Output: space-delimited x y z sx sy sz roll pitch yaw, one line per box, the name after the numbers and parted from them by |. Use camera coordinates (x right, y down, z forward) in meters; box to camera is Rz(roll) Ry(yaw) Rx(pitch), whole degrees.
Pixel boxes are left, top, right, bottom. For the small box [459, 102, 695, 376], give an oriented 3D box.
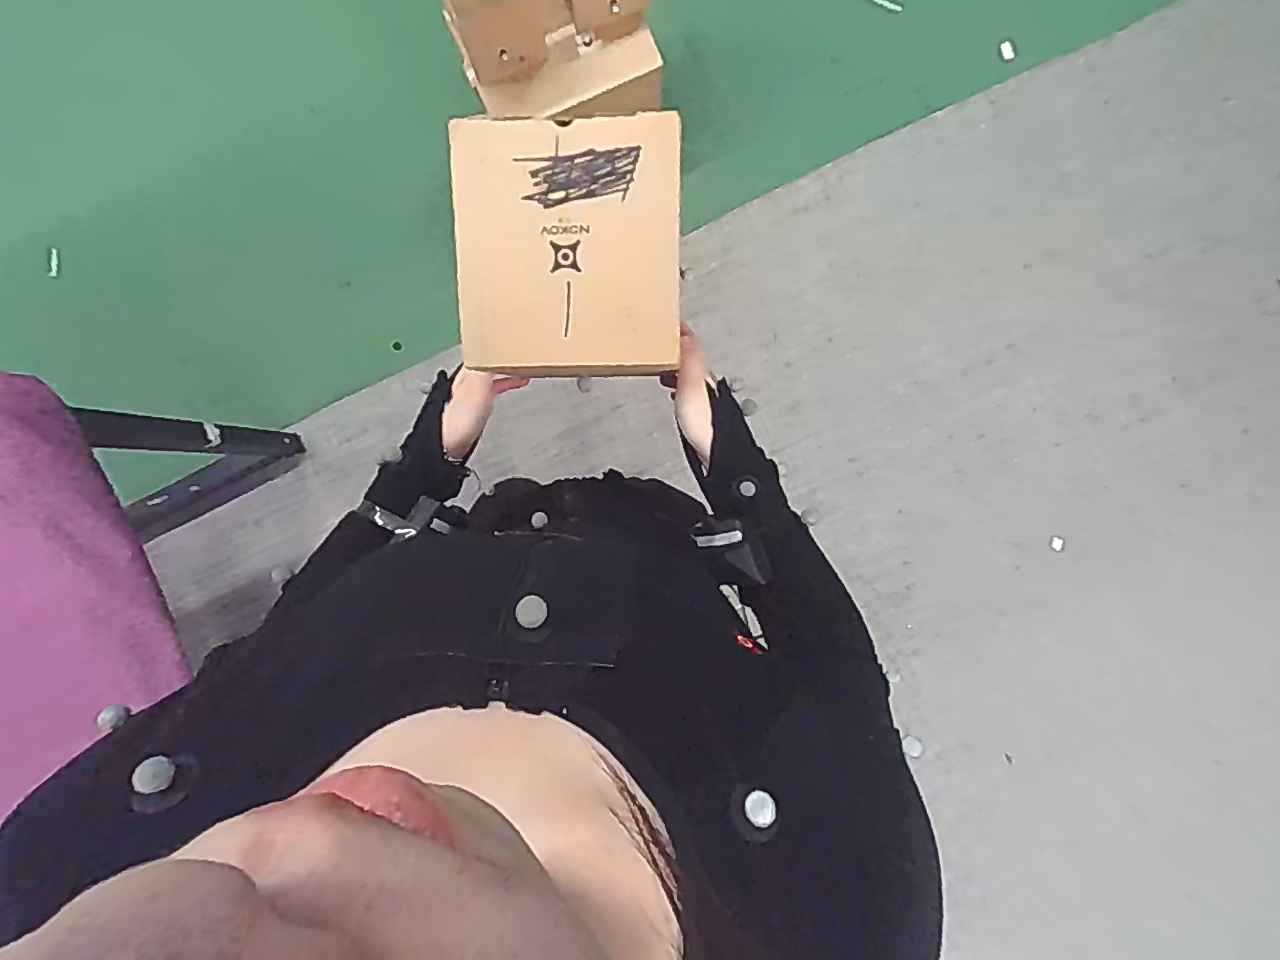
-0.042 -0.183 0.461 0.168 0.176 0.179 1 99 3 | small box

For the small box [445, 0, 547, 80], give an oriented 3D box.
-0.305 -0.974 1.096 0.168 0.176 0.179 -24 90 -1 | small box

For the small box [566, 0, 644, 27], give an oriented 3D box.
-0.080 -1.081 1.094 0.179 0.176 0.168 -19 89 0 | small box

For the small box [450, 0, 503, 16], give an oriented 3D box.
-0.300 -0.973 0.931 0.168 0.176 0.179 -25 90 -1 | small box

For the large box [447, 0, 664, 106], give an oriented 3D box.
-0.189 -0.971 1.339 0.408 0.320 0.320 -24 91 -1 | large box
